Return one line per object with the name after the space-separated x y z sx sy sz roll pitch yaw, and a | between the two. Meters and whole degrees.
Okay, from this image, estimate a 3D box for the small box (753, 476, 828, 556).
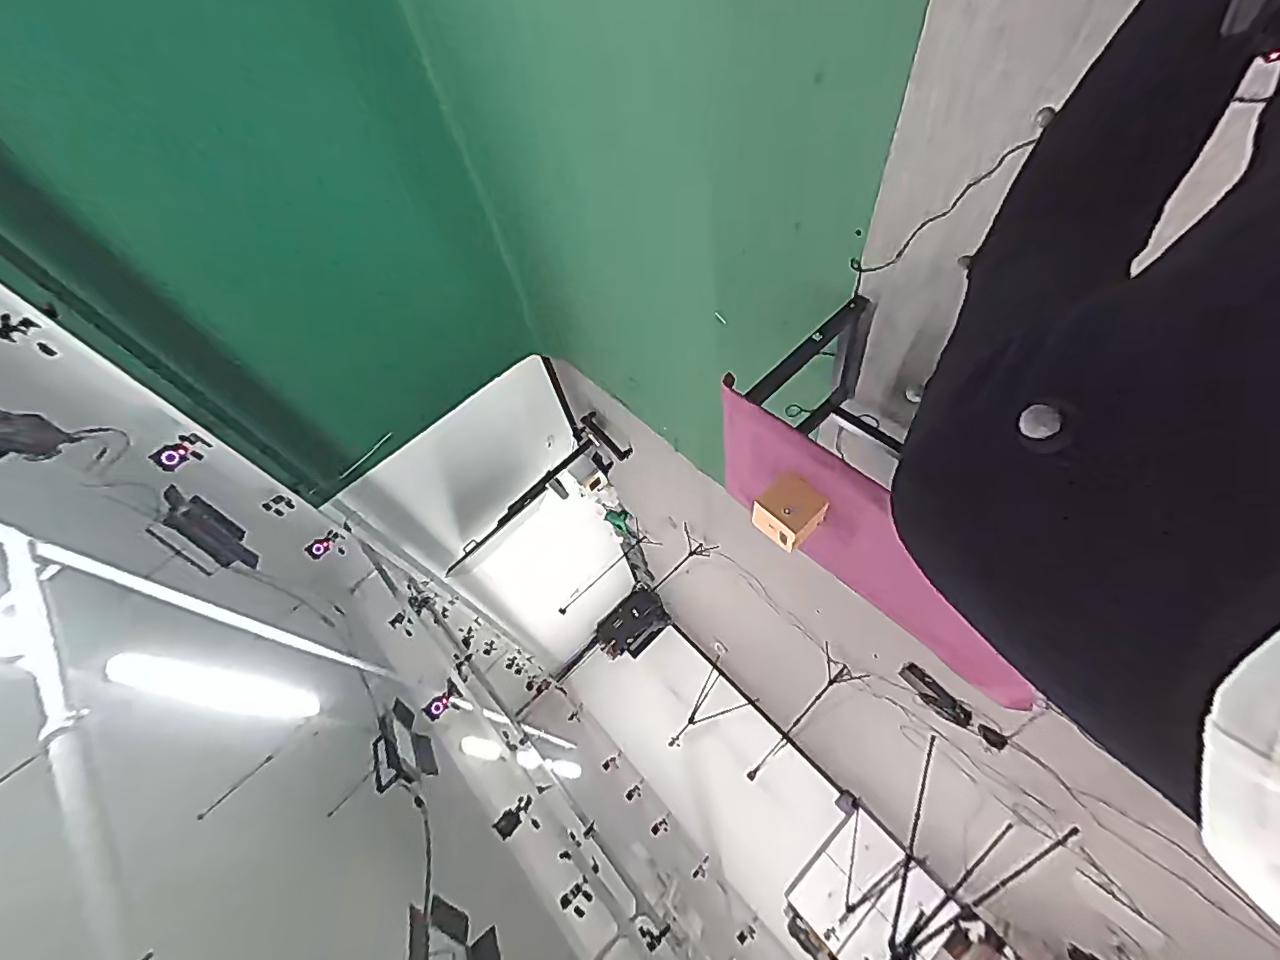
0.506 0.118 1.821 0.179 0.176 0.168 41 163 26 | small box
